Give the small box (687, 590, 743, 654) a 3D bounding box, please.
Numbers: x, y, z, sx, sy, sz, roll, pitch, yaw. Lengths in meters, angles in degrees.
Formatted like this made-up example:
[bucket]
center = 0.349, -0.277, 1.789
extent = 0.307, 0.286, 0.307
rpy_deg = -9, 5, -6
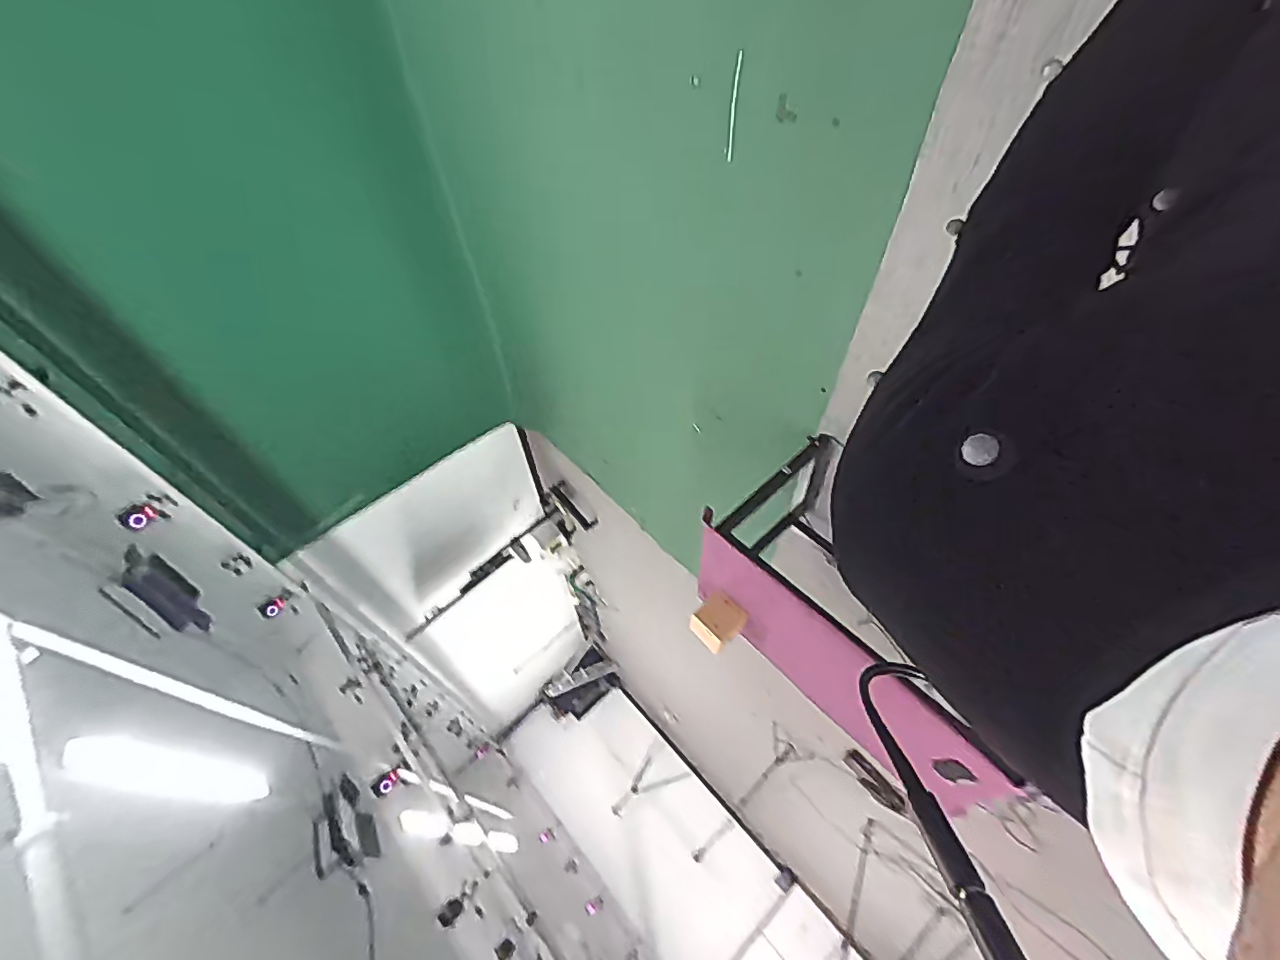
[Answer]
[small box]
center = 0.319, 0.605, 2.307
extent = 0.168, 0.176, 0.179
rpy_deg = 41, 155, 24
